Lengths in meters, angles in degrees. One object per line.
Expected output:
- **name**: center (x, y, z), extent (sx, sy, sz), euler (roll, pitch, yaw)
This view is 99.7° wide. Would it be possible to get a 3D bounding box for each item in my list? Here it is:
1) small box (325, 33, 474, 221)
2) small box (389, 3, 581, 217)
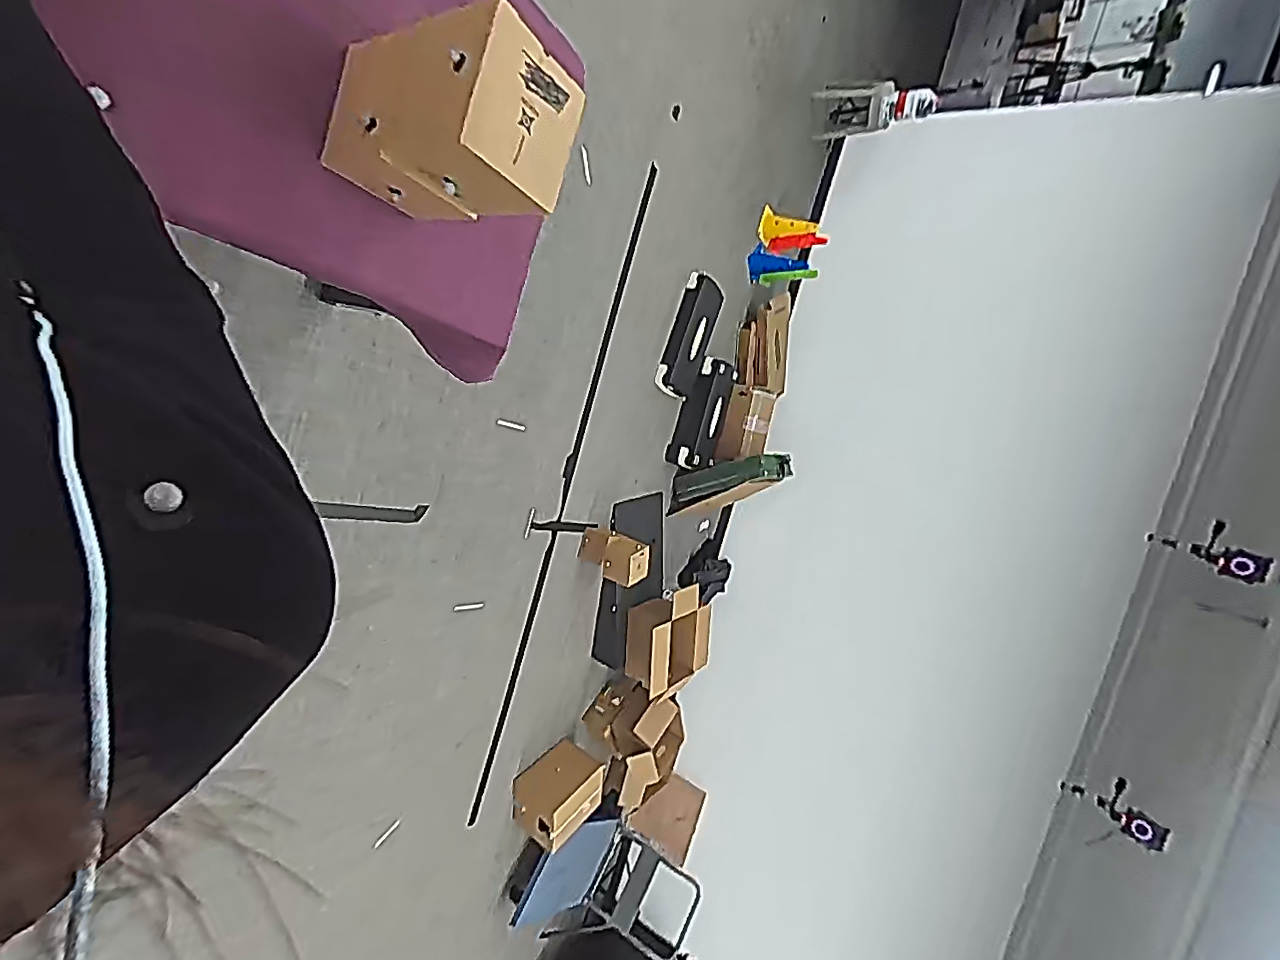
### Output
- **small box**: center (-0.349, -0.523, 0.829), extent (0.168, 0.176, 0.179), euler (12, 95, -58)
- **small box**: center (-0.213, -0.488, 0.742), extent (0.168, 0.176, 0.179), euler (13, 95, -58)
